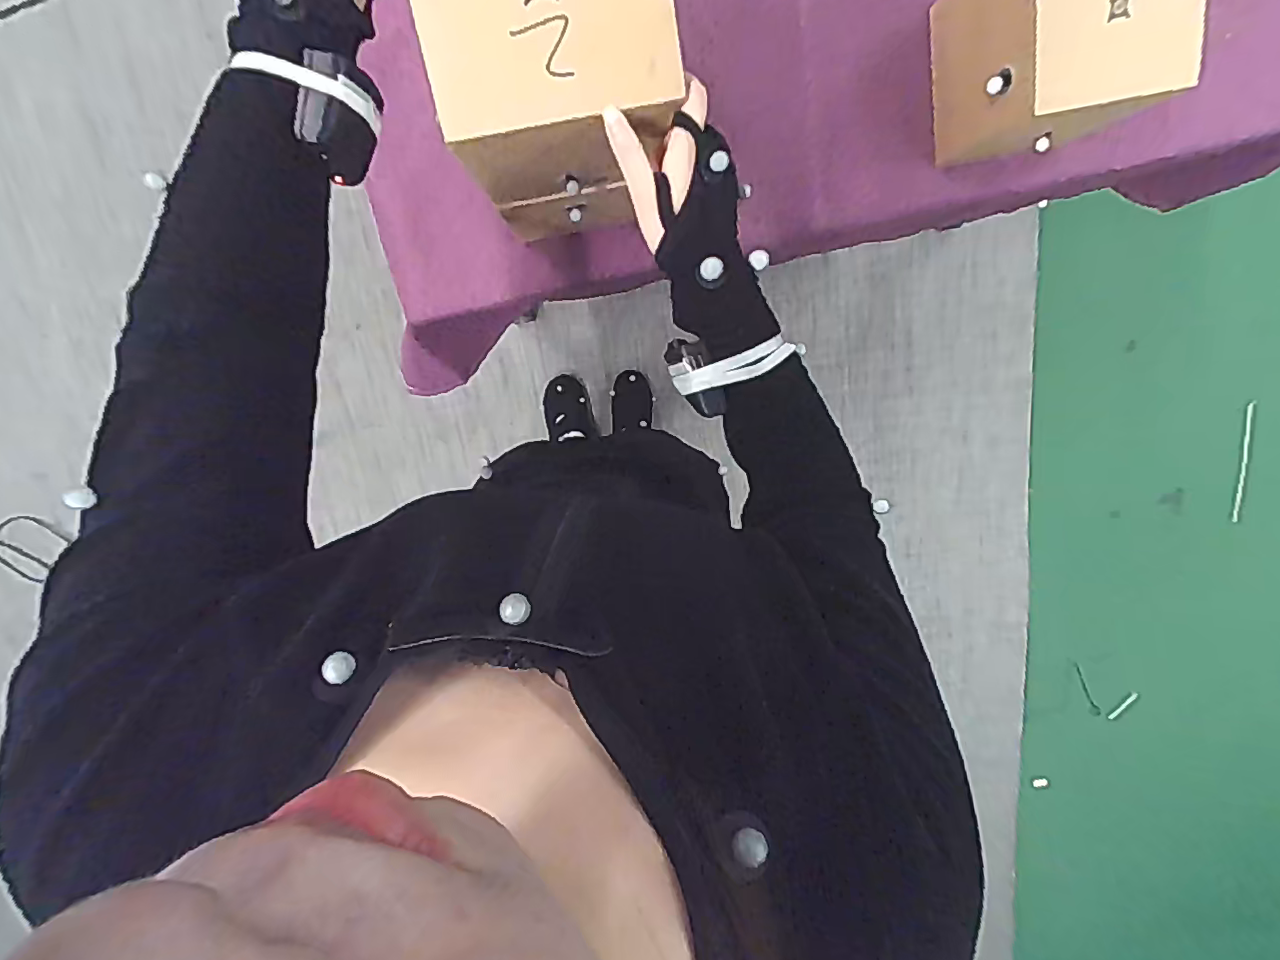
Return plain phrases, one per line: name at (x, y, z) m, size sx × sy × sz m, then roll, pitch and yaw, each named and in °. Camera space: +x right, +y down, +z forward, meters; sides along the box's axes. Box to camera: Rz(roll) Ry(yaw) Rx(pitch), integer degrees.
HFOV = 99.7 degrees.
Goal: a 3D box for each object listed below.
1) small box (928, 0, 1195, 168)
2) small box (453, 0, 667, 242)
small box at (0.440, -0.462, 0.590) m, size 0.168 × 0.176 × 0.179 m, roll -10°, pitch 104°, yaw -1°
small box at (-0.075, -0.369, 0.584) m, size 0.179 × 0.176 × 0.168 m, roll -11°, pitch 104°, yaw -1°
